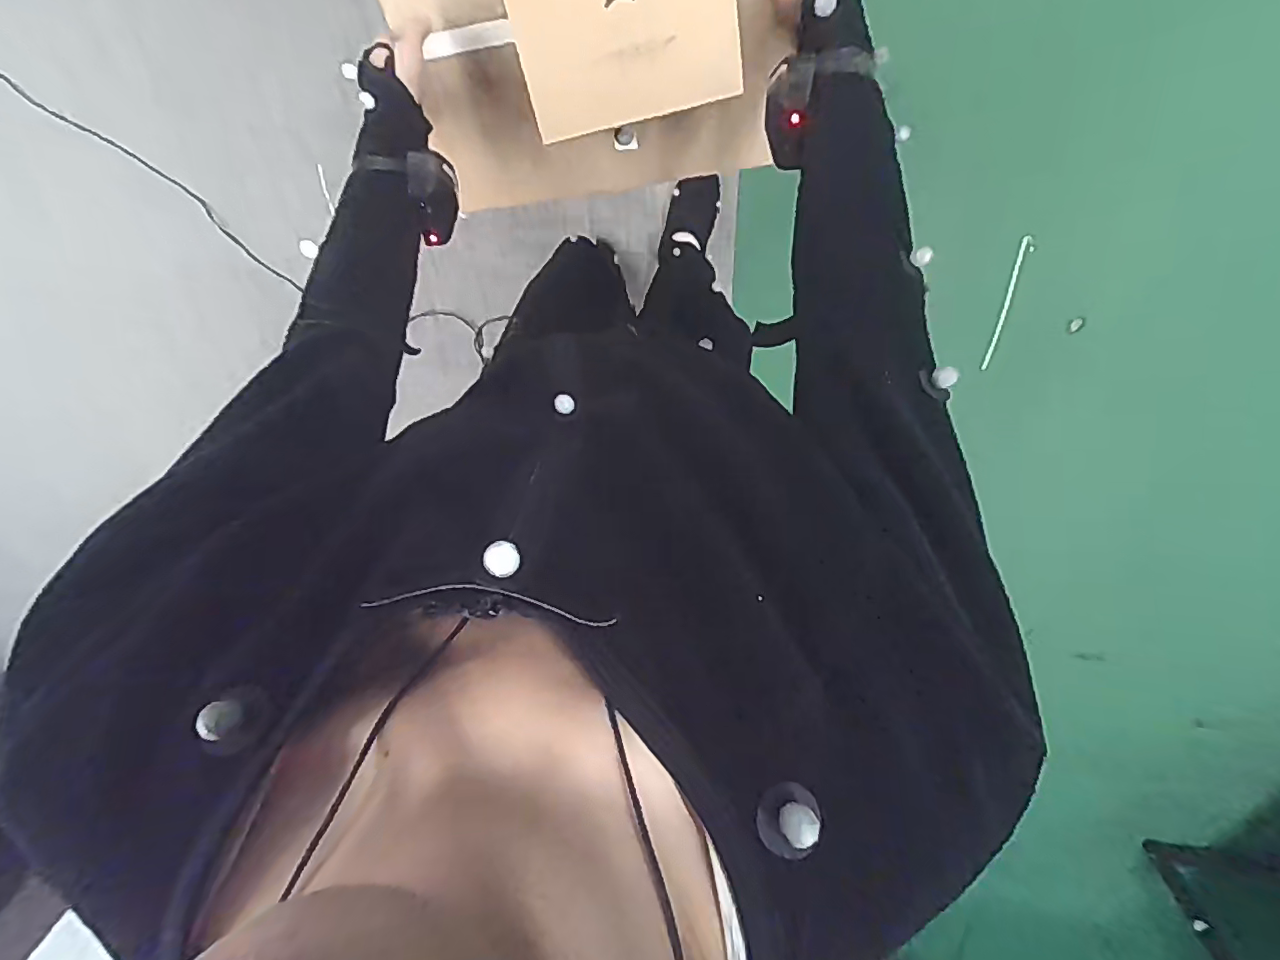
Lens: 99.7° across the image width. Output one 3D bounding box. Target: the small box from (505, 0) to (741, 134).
[{"bbox_3d":[-0.016,-0.405,0.439,0.168,0.176,0.179,-8,127,9],"label":"small box"}]
